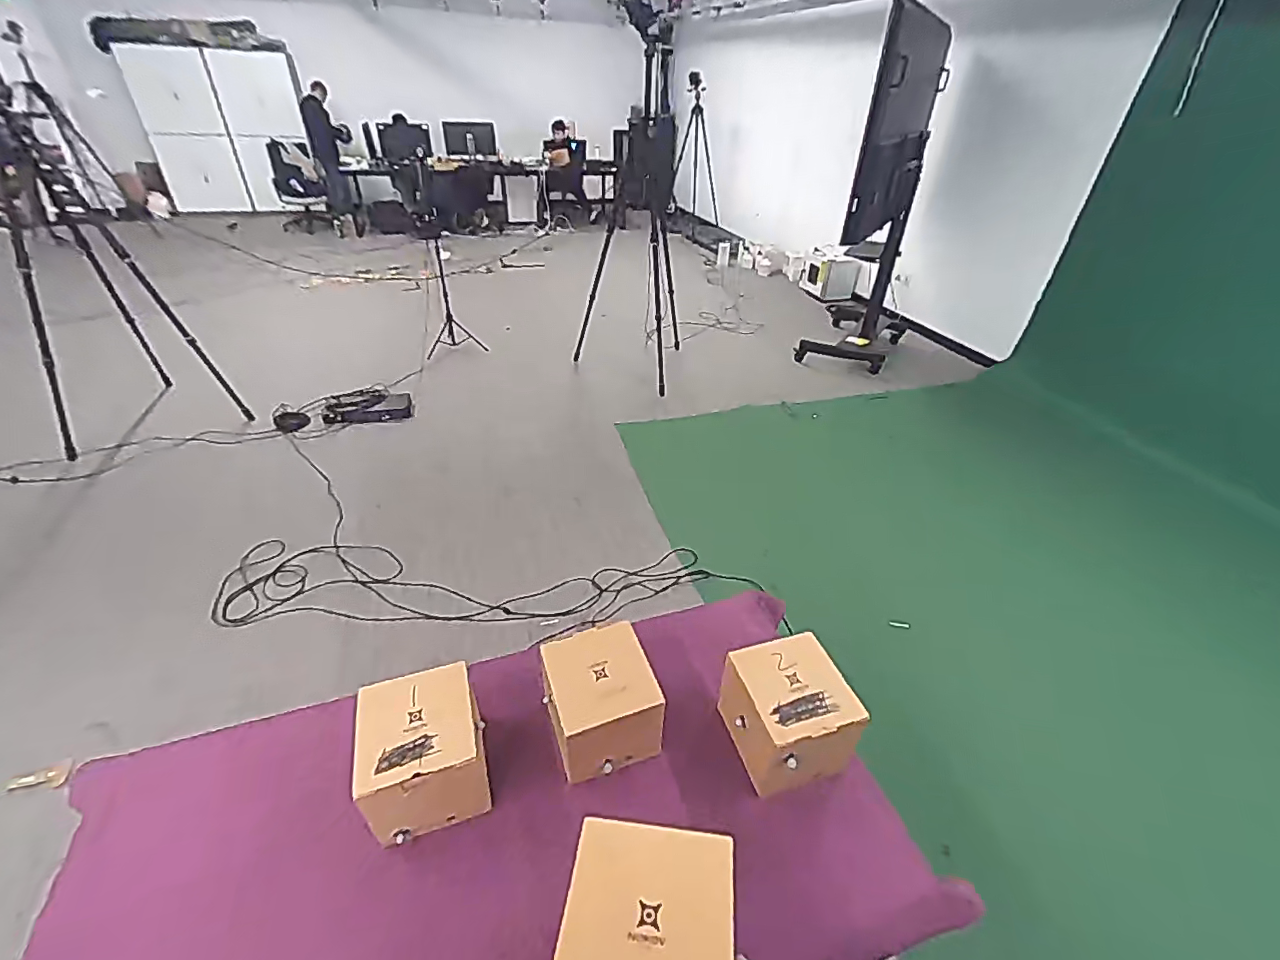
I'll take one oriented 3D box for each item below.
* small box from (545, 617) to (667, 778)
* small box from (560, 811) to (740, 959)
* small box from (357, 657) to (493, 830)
[{"bbox_3d":[-0.065,0.374,0.938,0.168,0.176,0.179,-12,40,-17],"label":"small box"},{"bbox_3d":[0.012,0.489,0.563,0.168,0.176,0.179,4,32,7],"label":"small box"},{"bbox_3d":[-0.334,0.420,0.857,0.168,0.176,0.179,-10,38,-17],"label":"small box"}]
